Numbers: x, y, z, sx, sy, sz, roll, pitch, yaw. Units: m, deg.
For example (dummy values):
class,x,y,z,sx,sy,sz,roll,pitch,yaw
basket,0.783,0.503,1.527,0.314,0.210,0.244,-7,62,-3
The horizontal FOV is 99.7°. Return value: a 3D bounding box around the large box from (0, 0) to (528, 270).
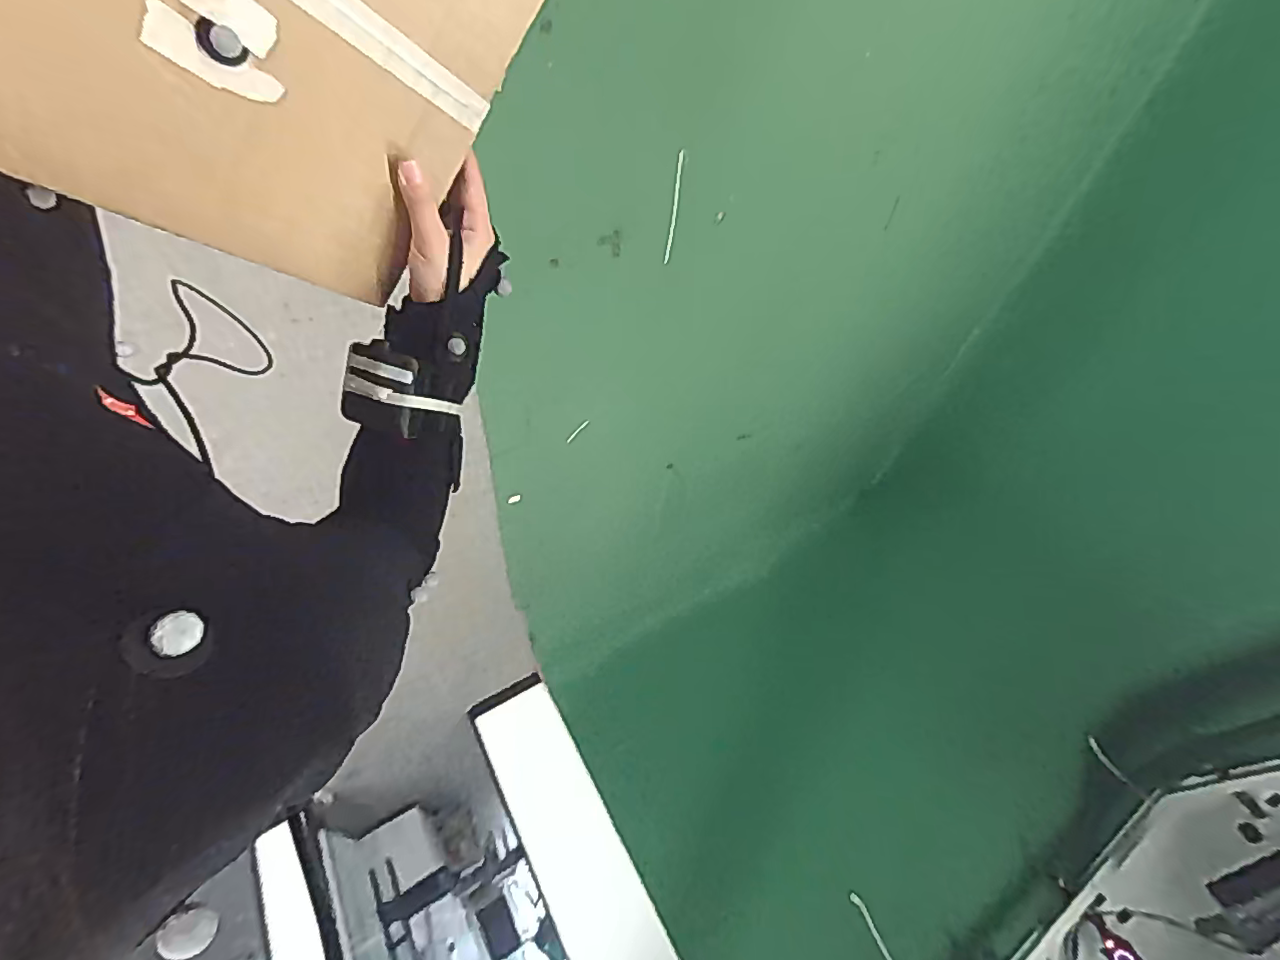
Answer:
class,x,y,z,sx,sy,sz,roll,pitch,yaw
large box,-0.303,-0.380,0.266,0.320,0.320,0.408,-50,151,22
